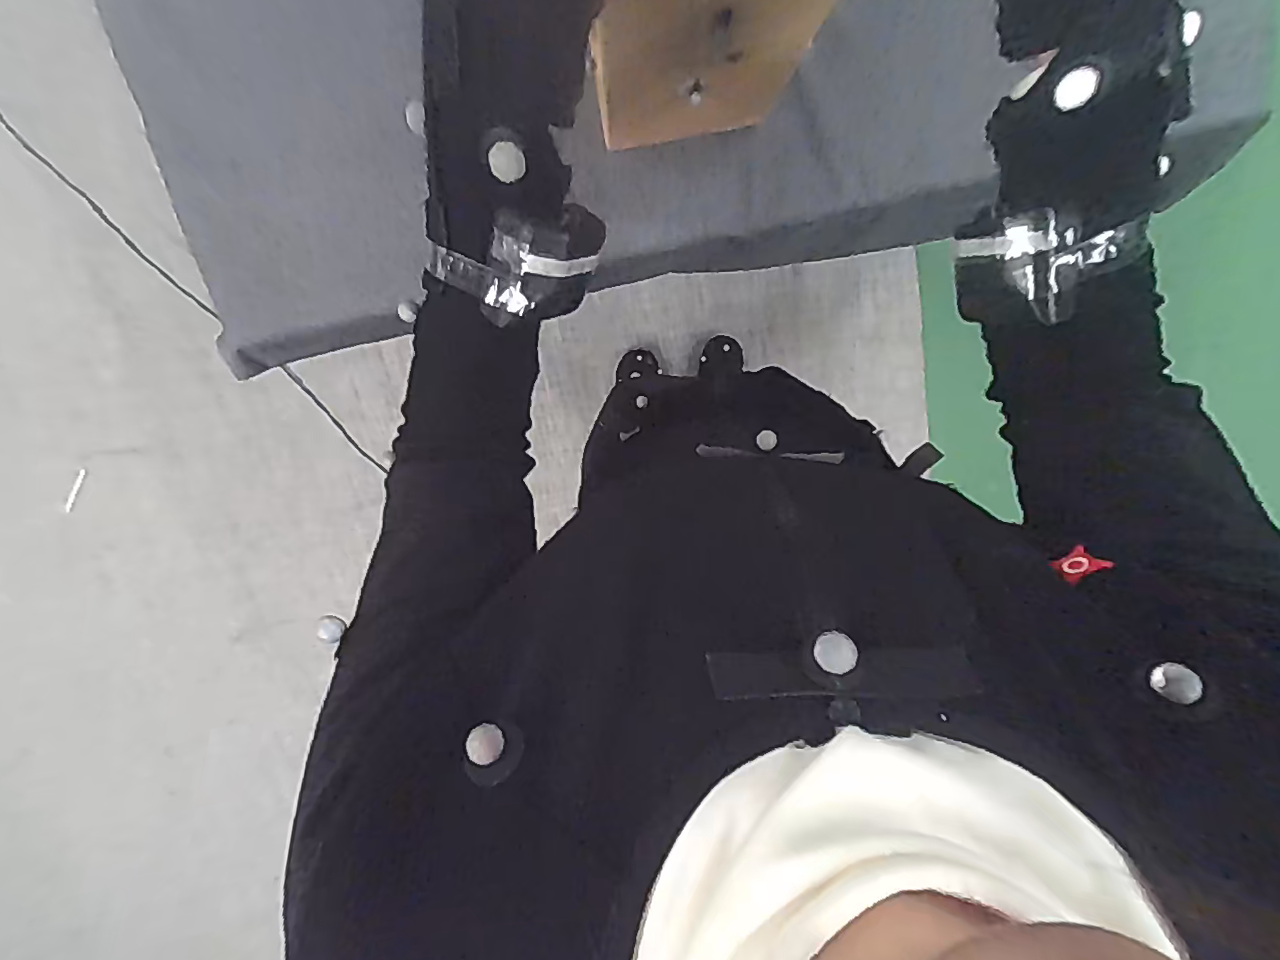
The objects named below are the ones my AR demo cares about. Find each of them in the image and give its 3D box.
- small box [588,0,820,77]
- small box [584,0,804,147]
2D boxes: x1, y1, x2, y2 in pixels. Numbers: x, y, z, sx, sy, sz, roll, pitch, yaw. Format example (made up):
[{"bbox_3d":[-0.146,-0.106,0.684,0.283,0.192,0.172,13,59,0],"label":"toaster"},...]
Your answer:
[{"bbox_3d":[0.039,-0.400,0.354,0.168,0.176,0.179,-10,105,1],"label":"small box"},{"bbox_3d":[0.038,-0.443,0.512,0.179,0.176,0.168,-10,105,0],"label":"small box"}]
